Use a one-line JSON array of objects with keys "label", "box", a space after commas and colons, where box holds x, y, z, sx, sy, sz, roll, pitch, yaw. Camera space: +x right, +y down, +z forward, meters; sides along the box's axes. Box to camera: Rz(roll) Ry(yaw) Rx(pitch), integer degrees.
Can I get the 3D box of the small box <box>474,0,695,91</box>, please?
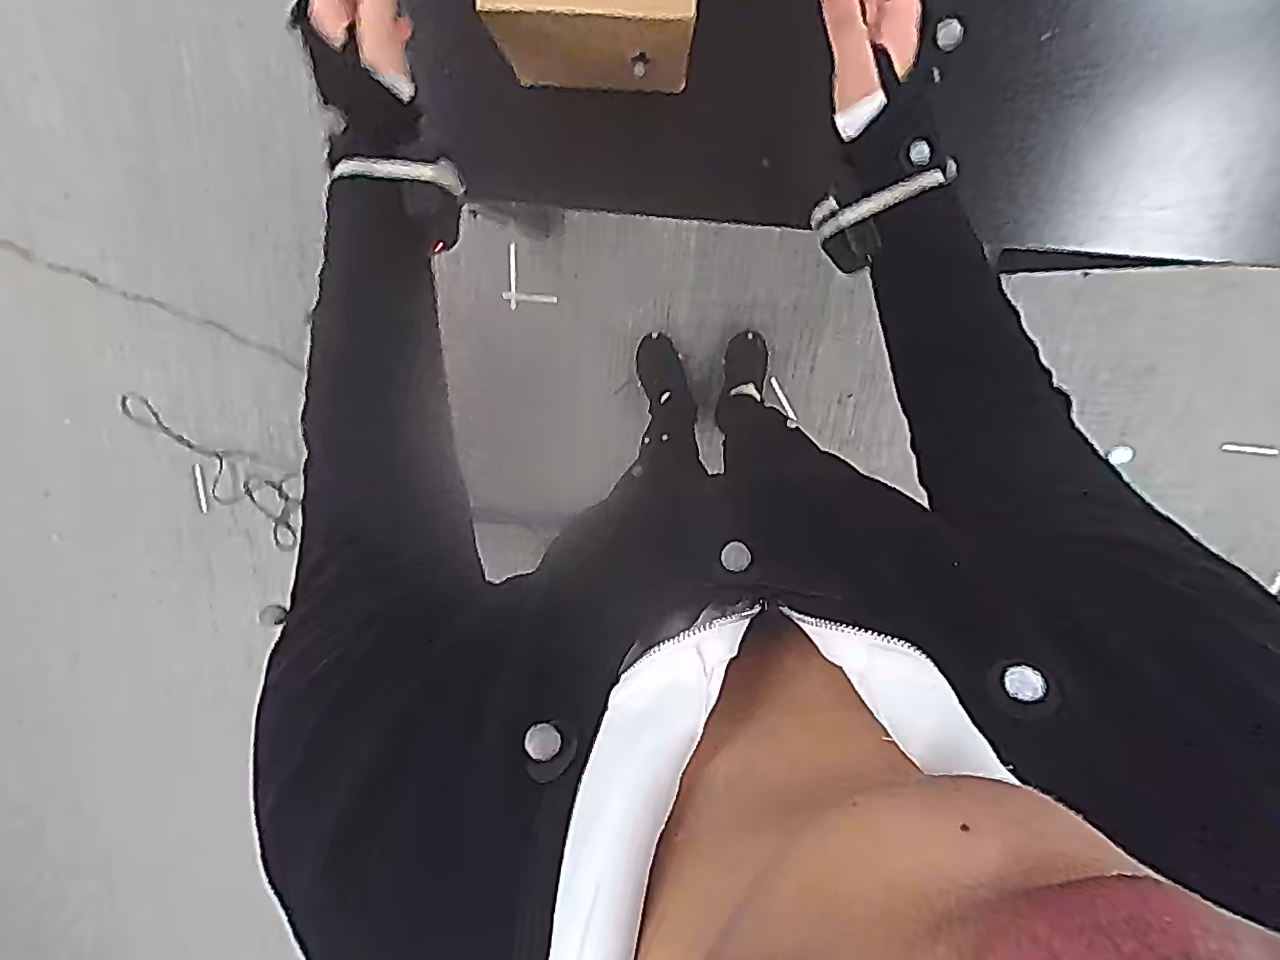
[{"label": "small box", "box": [-0.041, -0.472, 0.480, 0.179, 0.176, 0.168, 2, 108, 0]}]
